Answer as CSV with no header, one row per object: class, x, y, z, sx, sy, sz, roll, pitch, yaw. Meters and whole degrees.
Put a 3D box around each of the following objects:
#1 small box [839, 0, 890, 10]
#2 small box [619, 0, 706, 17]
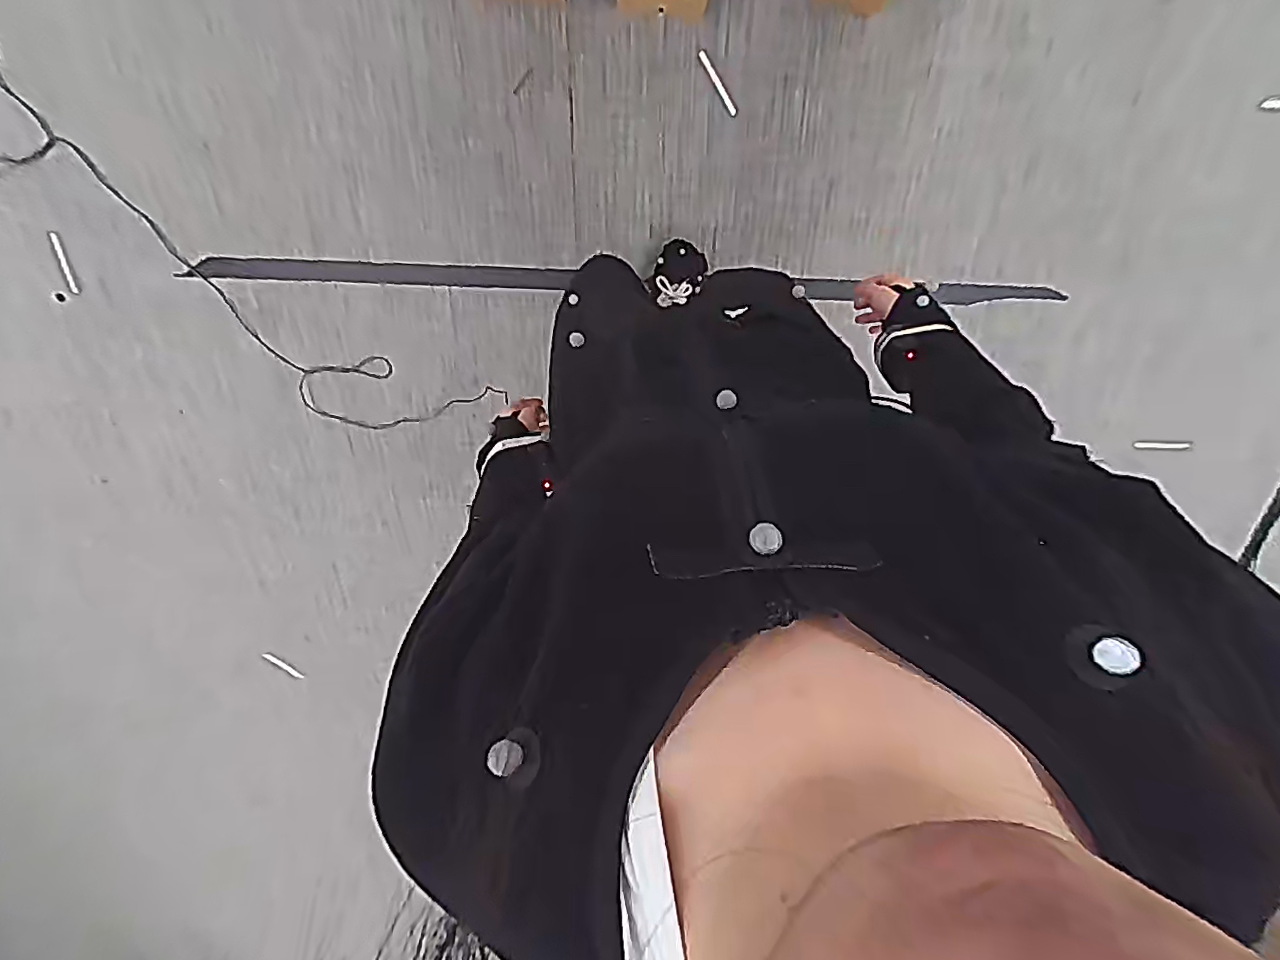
small box,0.431,-1.018,1.003,0.179,0.176,0.168,17,115,-6
small box,0.051,-1.002,1.013,0.179,0.176,0.168,5,116,-2
